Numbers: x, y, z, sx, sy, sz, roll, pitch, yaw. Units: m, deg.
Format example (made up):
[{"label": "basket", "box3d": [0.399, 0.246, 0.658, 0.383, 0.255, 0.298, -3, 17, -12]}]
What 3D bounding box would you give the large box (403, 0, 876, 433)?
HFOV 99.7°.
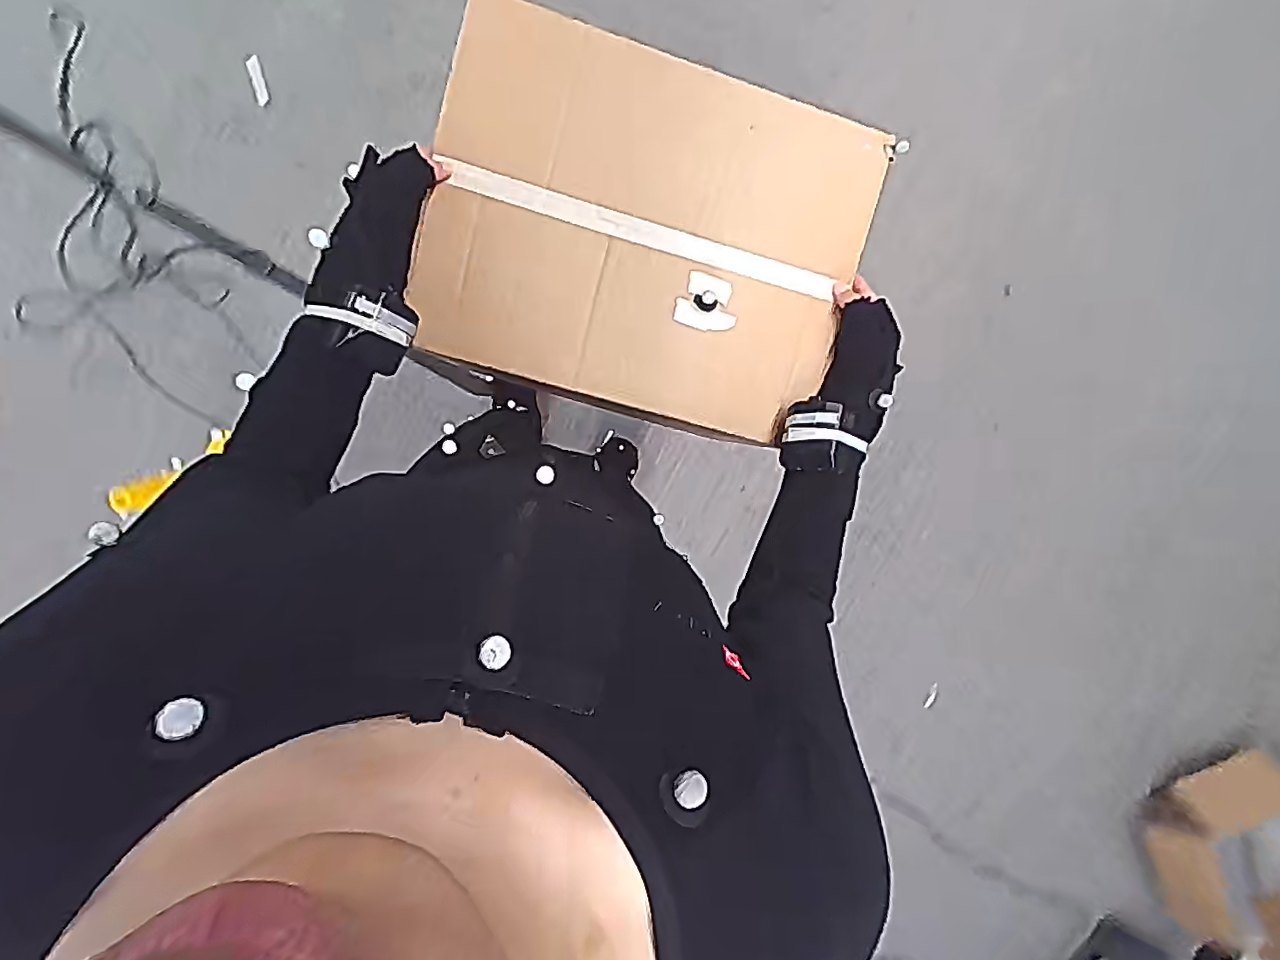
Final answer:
[{"label": "large box", "box3d": [-0.013, -0.250, 0.655, 0.408, 0.320, 0.320, 13, 95, -8]}]
